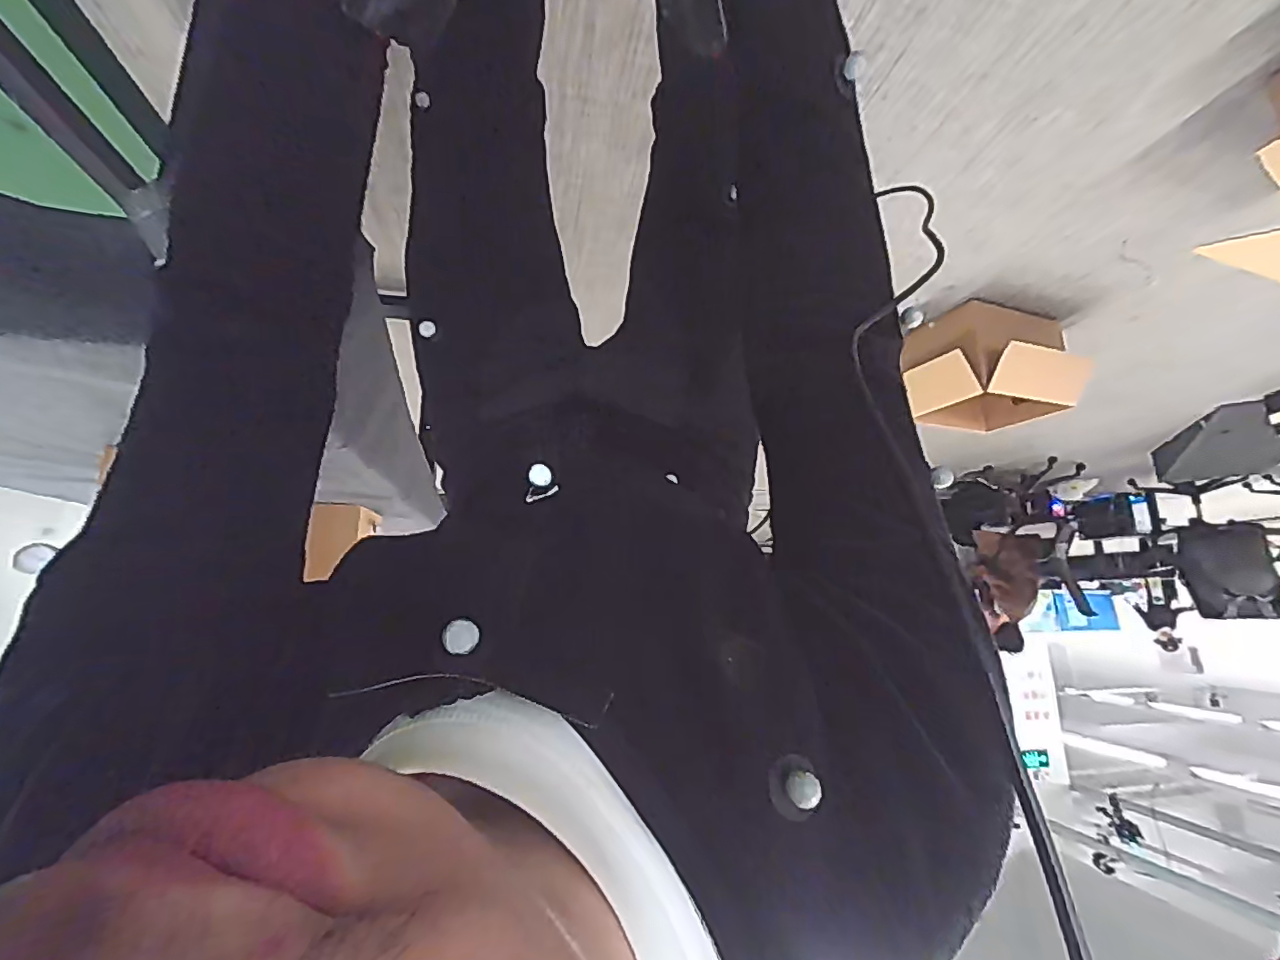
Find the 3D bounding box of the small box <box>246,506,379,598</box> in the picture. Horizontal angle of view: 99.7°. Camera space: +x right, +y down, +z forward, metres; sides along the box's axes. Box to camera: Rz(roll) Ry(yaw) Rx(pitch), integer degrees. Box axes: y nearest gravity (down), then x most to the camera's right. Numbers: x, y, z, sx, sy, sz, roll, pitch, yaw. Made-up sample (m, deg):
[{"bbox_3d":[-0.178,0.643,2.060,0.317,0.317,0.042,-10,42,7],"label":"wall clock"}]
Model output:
[{"bbox_3d":[-0.648,0.148,1.092,0.179,0.176,0.168,2,167,-10],"label":"small box"}]
